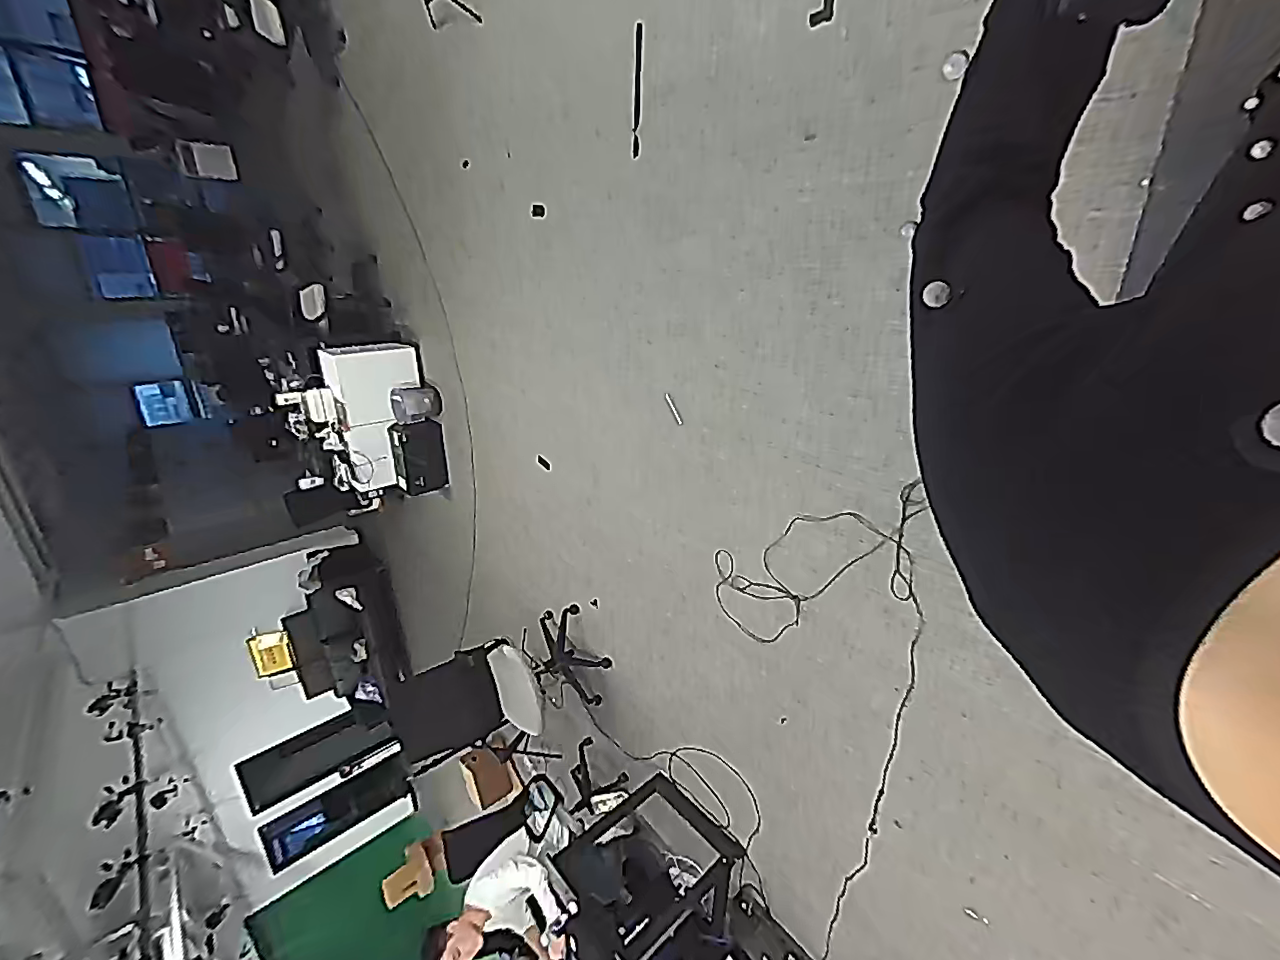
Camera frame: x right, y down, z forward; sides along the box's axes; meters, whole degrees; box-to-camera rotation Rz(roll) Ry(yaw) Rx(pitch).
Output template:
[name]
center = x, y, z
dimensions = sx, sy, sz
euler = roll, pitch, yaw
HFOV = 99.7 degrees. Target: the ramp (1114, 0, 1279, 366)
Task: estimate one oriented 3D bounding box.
[ramp]
center = 1.110, -0.641, 0.753
dimensions = 0.509, 0.206, 0.991
euler = 20, 120, 44
